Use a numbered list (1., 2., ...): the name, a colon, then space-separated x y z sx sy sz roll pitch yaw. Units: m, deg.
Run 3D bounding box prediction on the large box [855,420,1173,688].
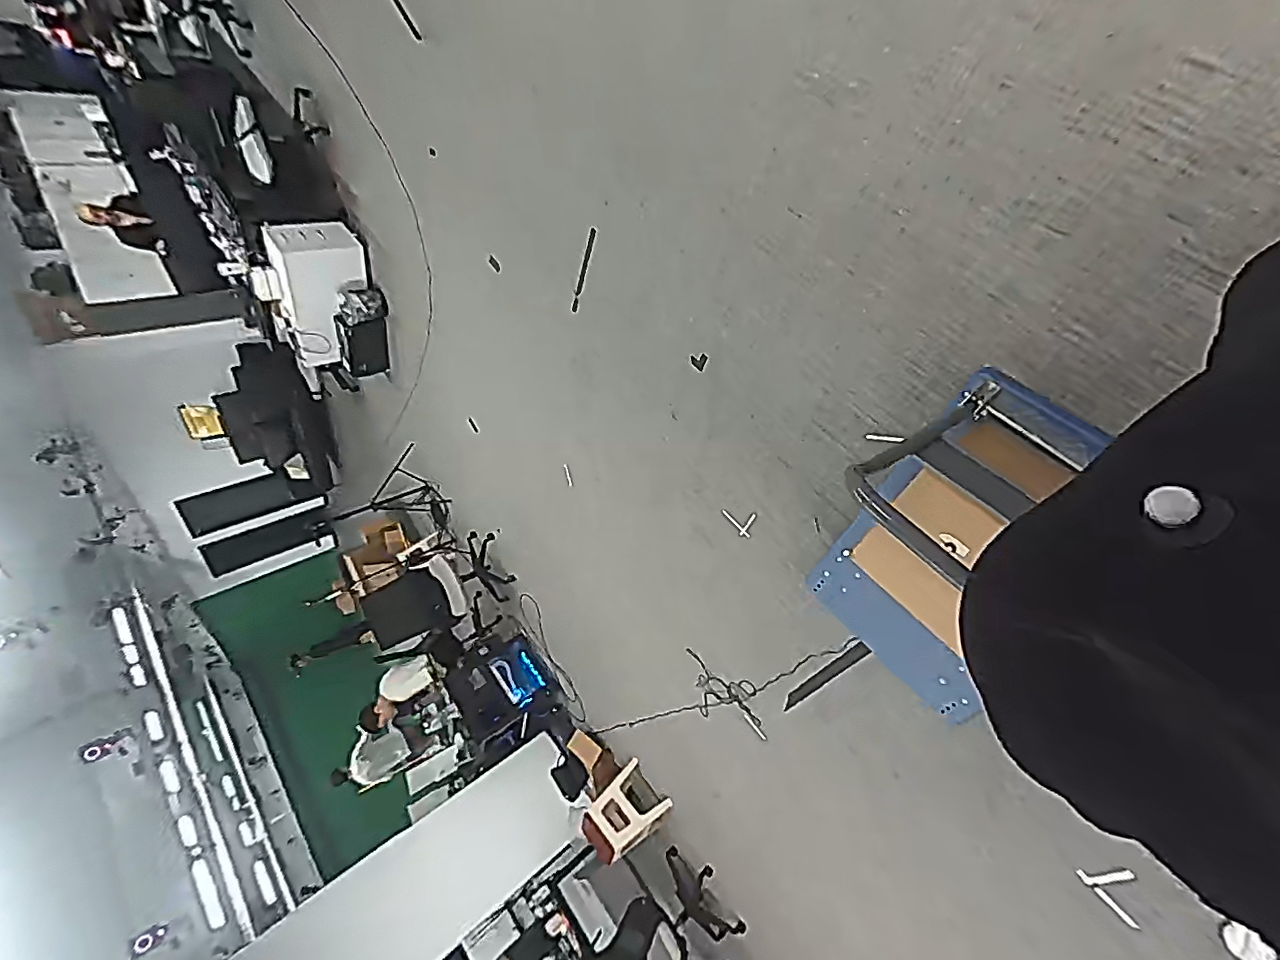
1. large box: 0.767 0.141 1.149 0.408 0.320 0.320 47 140 26
